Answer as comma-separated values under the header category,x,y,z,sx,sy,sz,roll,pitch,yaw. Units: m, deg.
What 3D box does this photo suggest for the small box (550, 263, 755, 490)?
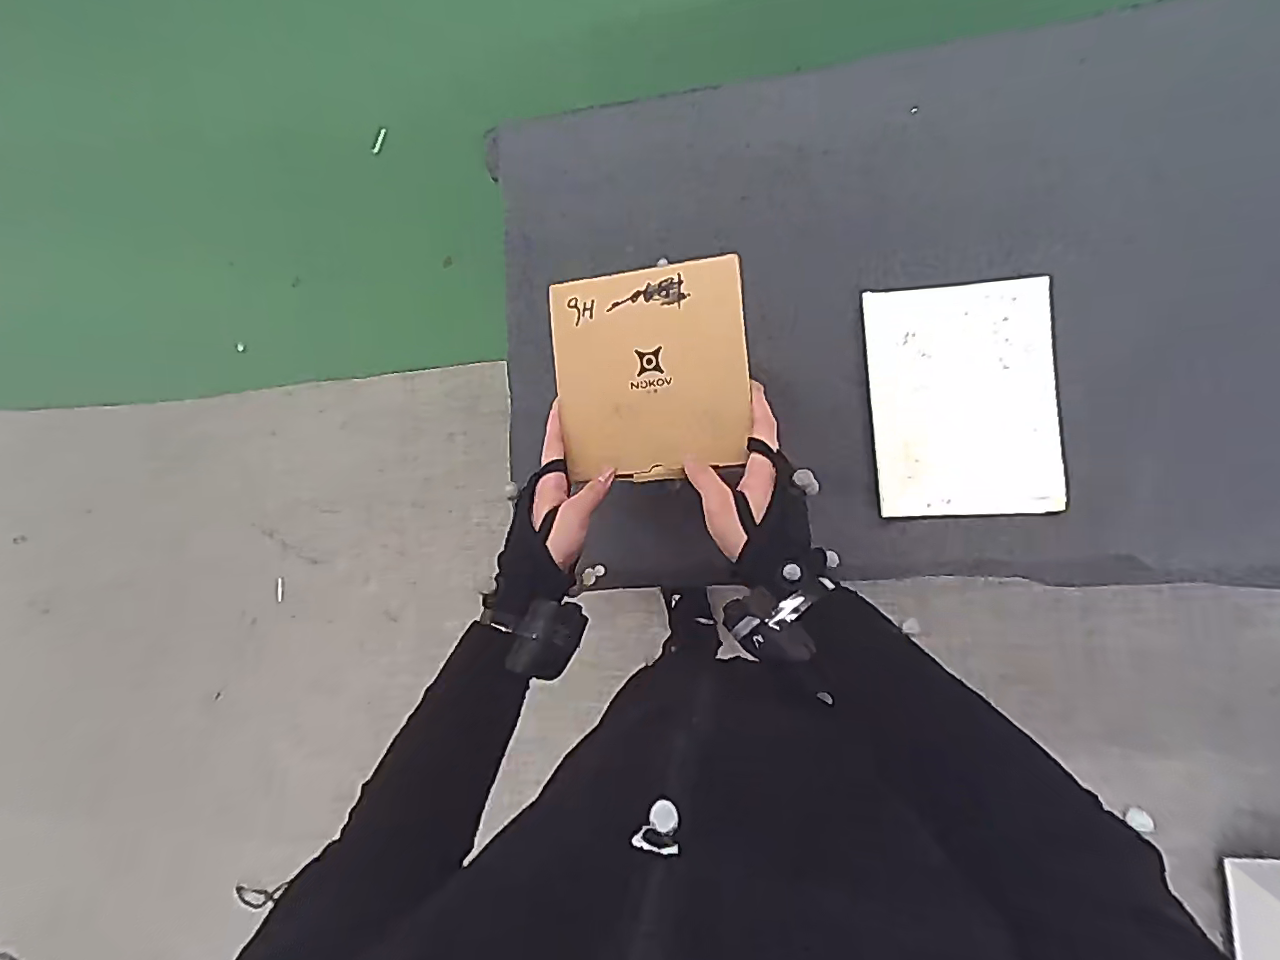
category,x,y,z,sx,sy,sz,roll,pitch,yaw
small box,0.025,-0.089,0.535,0.168,0.176,0.179,-6,92,11
